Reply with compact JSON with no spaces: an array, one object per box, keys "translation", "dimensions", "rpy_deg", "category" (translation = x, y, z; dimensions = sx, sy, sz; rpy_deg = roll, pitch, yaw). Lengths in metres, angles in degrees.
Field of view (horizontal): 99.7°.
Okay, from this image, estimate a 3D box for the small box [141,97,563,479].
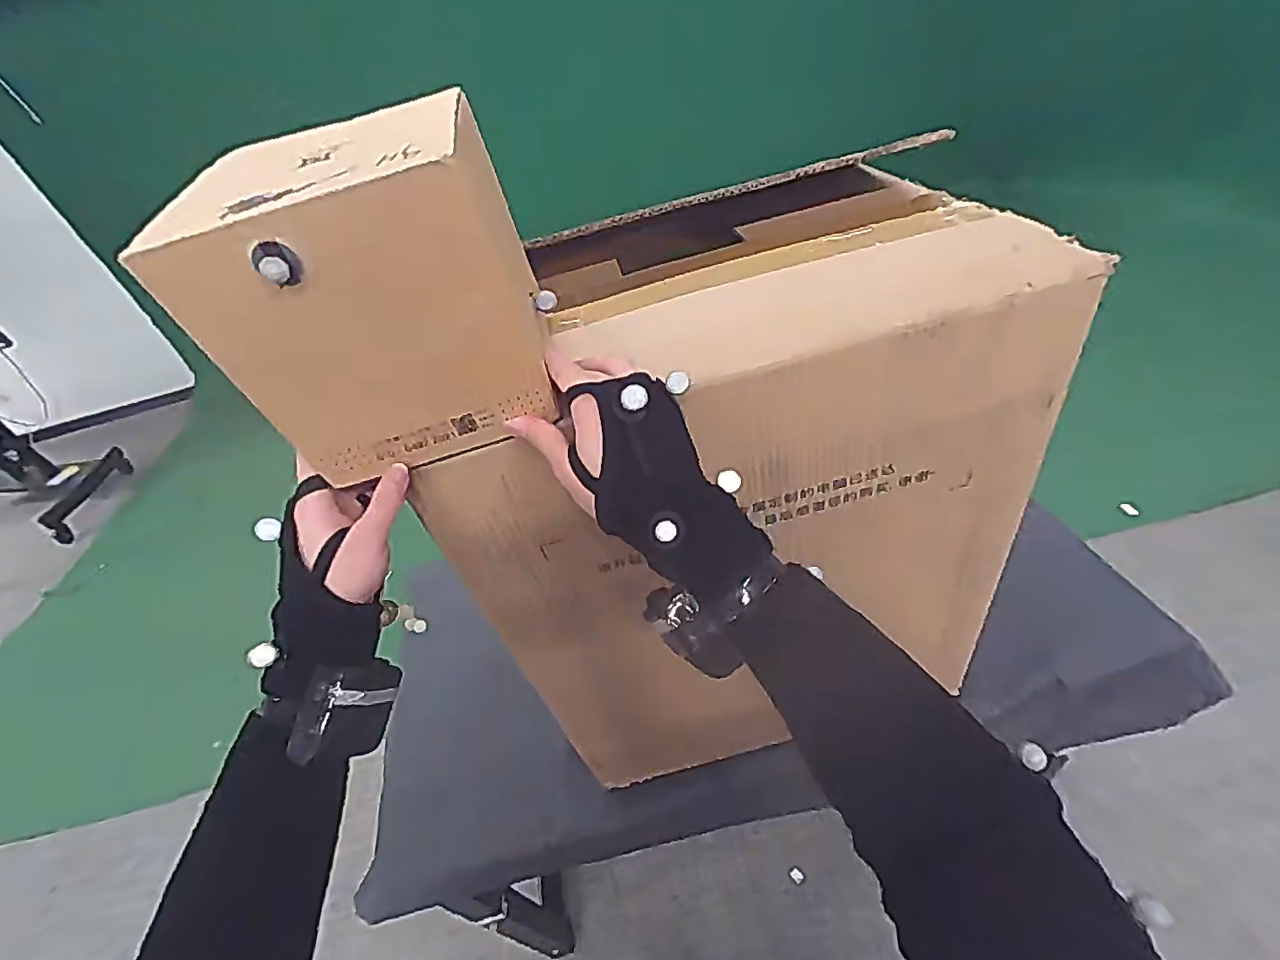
[{"translation":[-0.162,-0.131,0.374],"dimensions":[0.168,0.176,0.179],"rpy_deg":[-18,45,1],"category":"small box"}]
